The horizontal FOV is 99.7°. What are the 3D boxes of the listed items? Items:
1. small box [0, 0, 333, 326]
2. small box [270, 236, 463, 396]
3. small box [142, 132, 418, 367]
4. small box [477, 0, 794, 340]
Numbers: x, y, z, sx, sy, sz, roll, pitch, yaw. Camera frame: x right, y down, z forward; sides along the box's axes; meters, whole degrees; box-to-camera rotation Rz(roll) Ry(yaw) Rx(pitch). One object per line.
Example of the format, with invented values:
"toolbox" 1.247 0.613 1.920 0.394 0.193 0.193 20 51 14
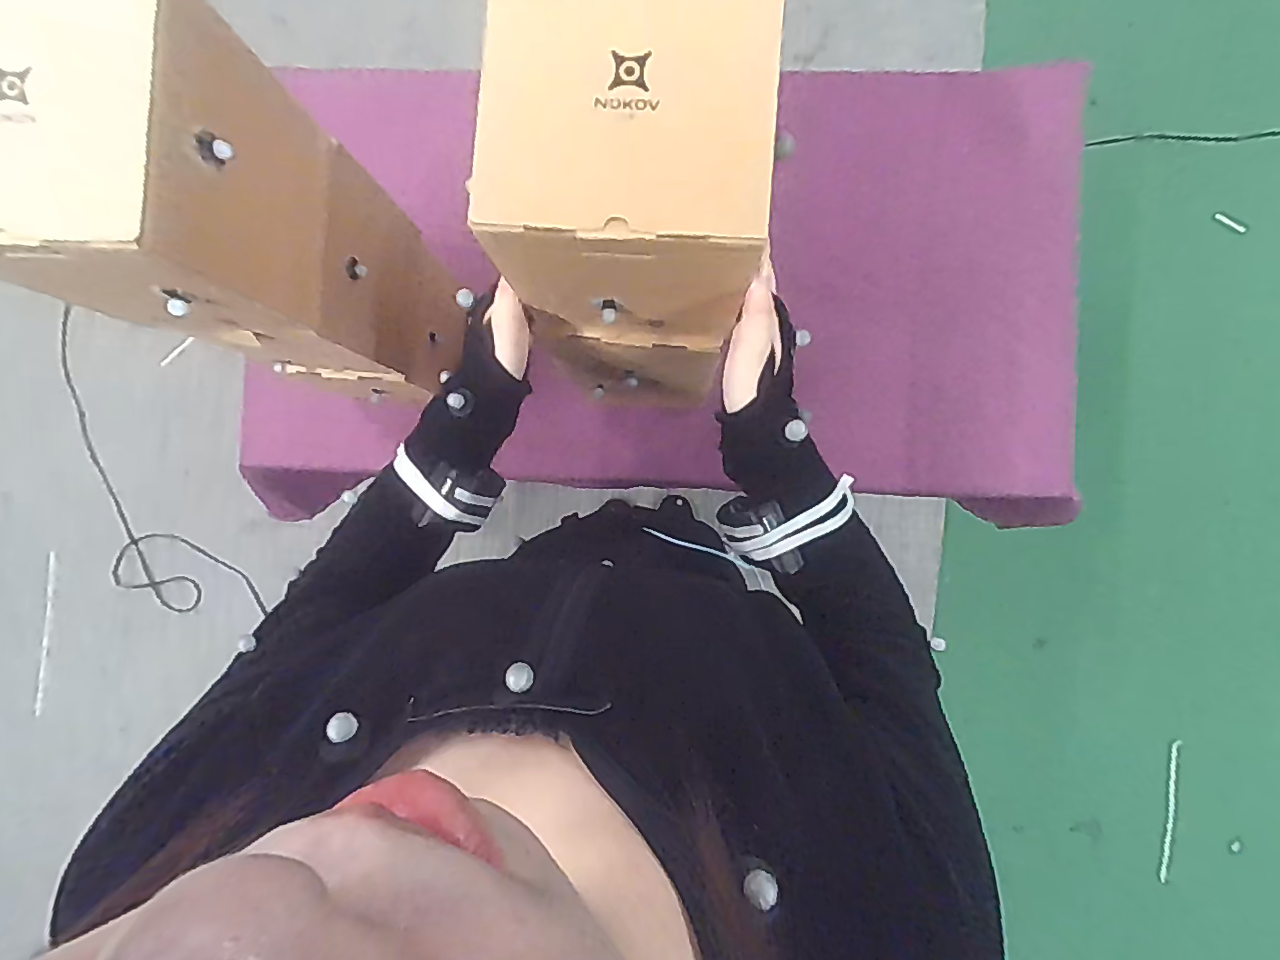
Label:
"small box" -0.351 -0.222 0.389 0.168 0.176 0.179 4 89 1
"small box" -0.347 -0.213 0.717 0.168 0.176 0.179 6 90 1
"small box" -0.347 -0.223 0.552 0.168 0.176 0.179 7 88 1
"small box" 0.000 -0.213 0.380 0.168 0.176 0.179 5 89 2
